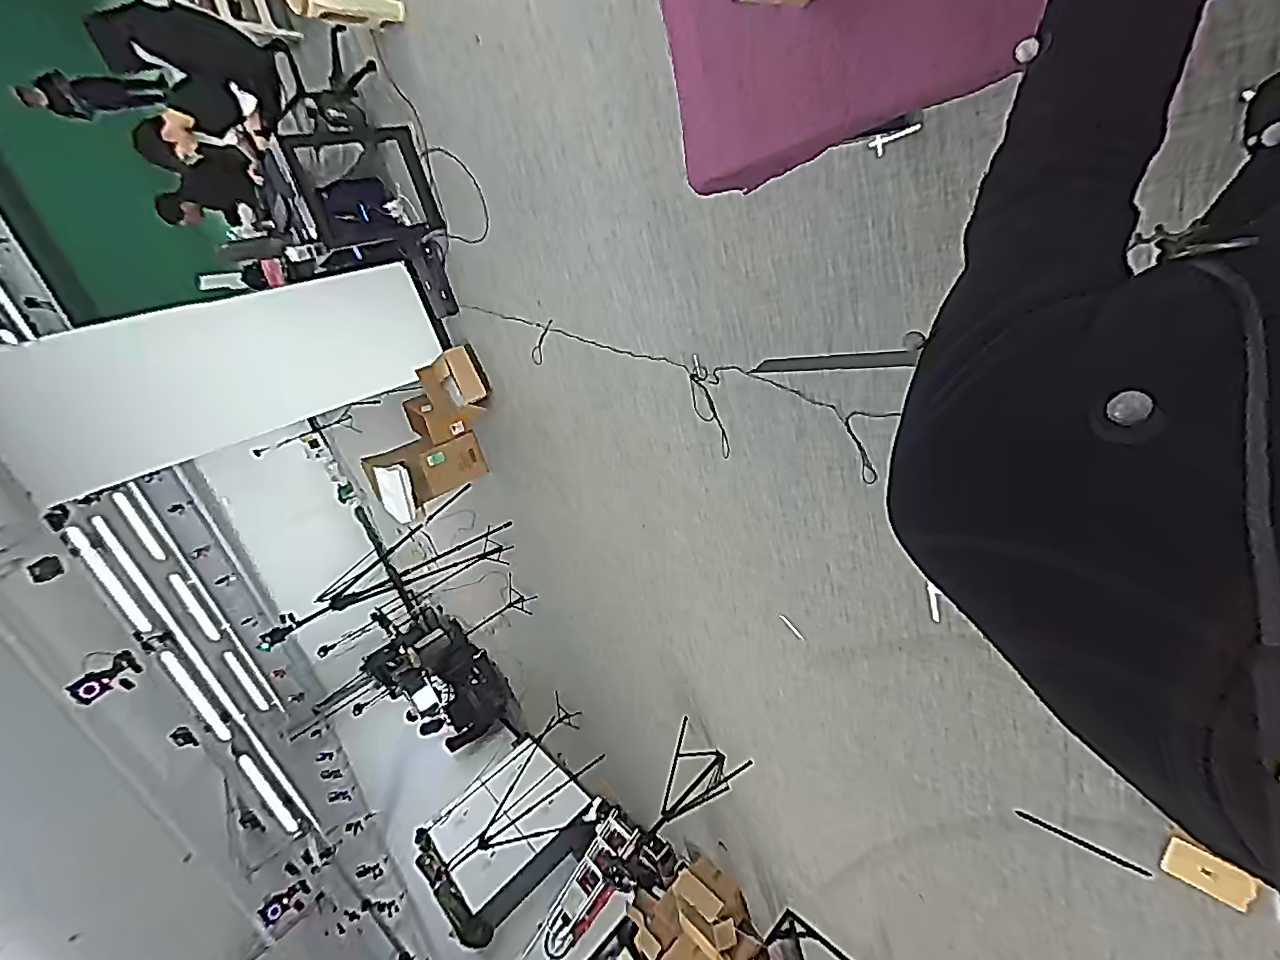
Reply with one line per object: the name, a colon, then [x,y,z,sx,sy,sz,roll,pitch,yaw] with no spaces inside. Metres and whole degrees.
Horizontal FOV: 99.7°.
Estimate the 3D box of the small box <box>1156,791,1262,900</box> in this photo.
small box: [1.648,1.045,1.567,0.179,0.176,0.168,18,129,44]
